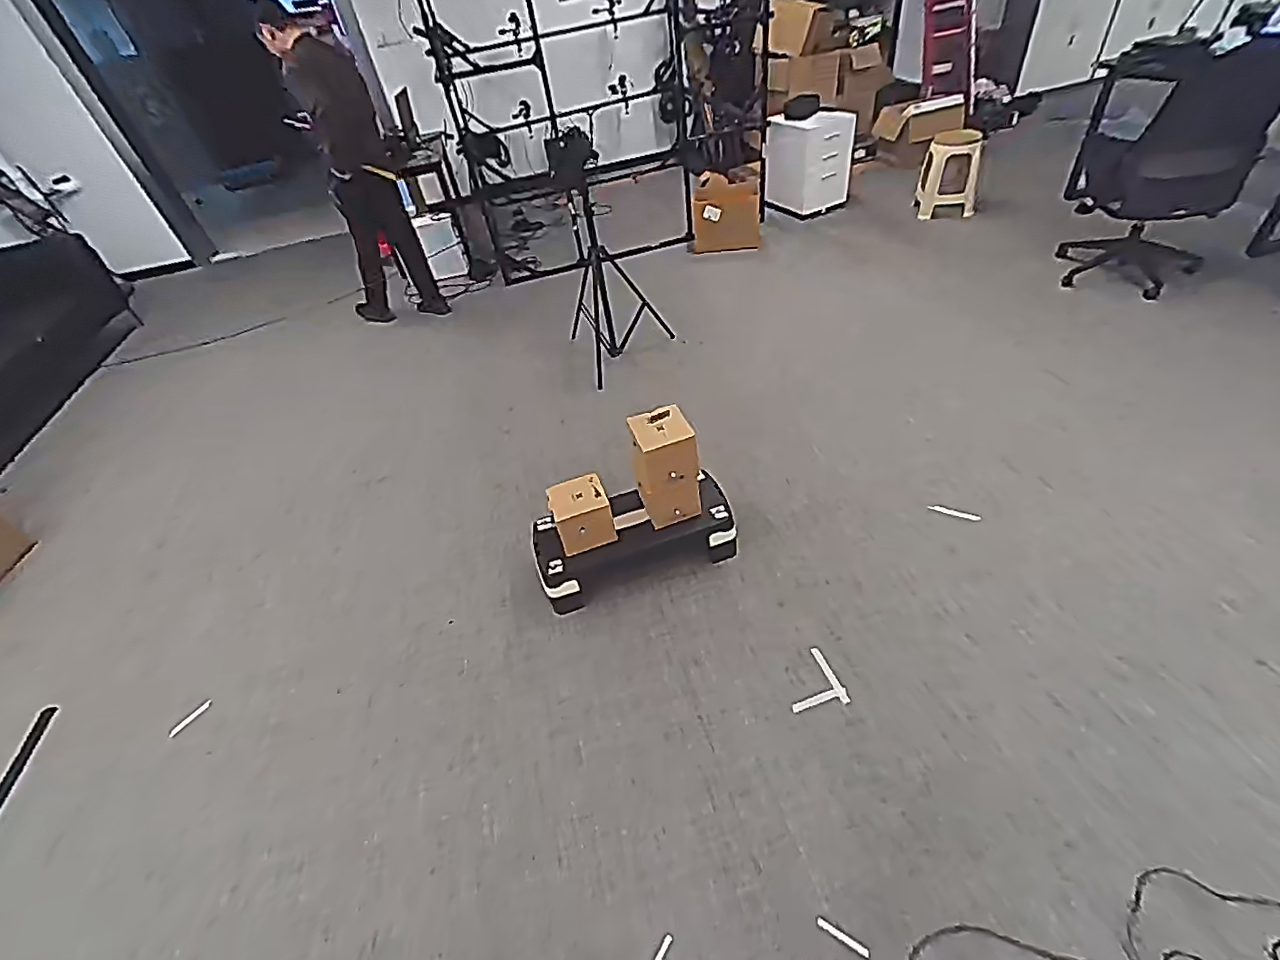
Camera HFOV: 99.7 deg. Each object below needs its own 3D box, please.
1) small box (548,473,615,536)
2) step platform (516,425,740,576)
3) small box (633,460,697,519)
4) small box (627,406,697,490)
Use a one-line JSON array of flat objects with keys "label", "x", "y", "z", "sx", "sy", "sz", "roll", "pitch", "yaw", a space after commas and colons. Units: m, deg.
[{"label": "small box", "x": -0.189, "y": 0.113, "z": 1.756, "sx": 0.179, "sy": 0.176, "sz": 0.168, "roll": -19, "pitch": 44, "yaw": -8}, {"label": "step platform", "x": -0.033, "y": 0.061, "z": 1.725, "sx": 0.684, "sy": 0.204, "sz": 0.286, "roll": -17, "pitch": 43, "yaw": -7}, {"label": "small box", "x": 0.085, "y": 0.024, "z": 1.791, "sx": 0.168, "sy": 0.176, "sz": 0.179, "roll": -19, "pitch": 44, "yaw": -7}, {"label": "small box", "x": 0.070, "y": -0.099, "z": 1.683, "sx": 0.168, "sy": 0.176, "sz": 0.179, "roll": -19, "pitch": 44, "yaw": -7}]
